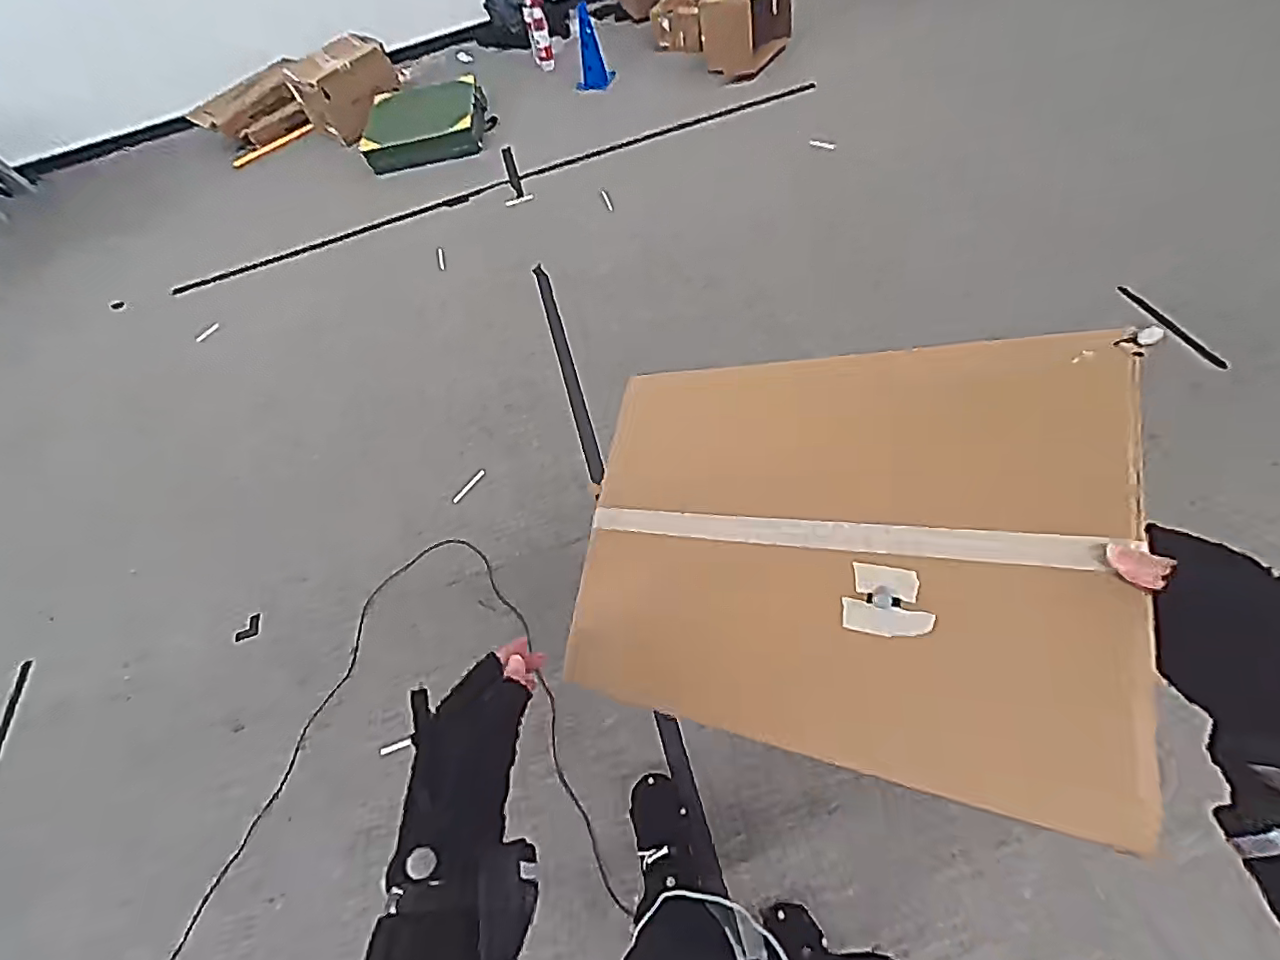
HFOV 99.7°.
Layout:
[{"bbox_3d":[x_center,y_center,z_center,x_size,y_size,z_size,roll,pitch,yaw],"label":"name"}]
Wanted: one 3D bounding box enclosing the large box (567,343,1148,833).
[{"bbox_3d":[0.199,0.098,0.553,0.408,0.320,0.320,1,72,31],"label":"large box"}]
